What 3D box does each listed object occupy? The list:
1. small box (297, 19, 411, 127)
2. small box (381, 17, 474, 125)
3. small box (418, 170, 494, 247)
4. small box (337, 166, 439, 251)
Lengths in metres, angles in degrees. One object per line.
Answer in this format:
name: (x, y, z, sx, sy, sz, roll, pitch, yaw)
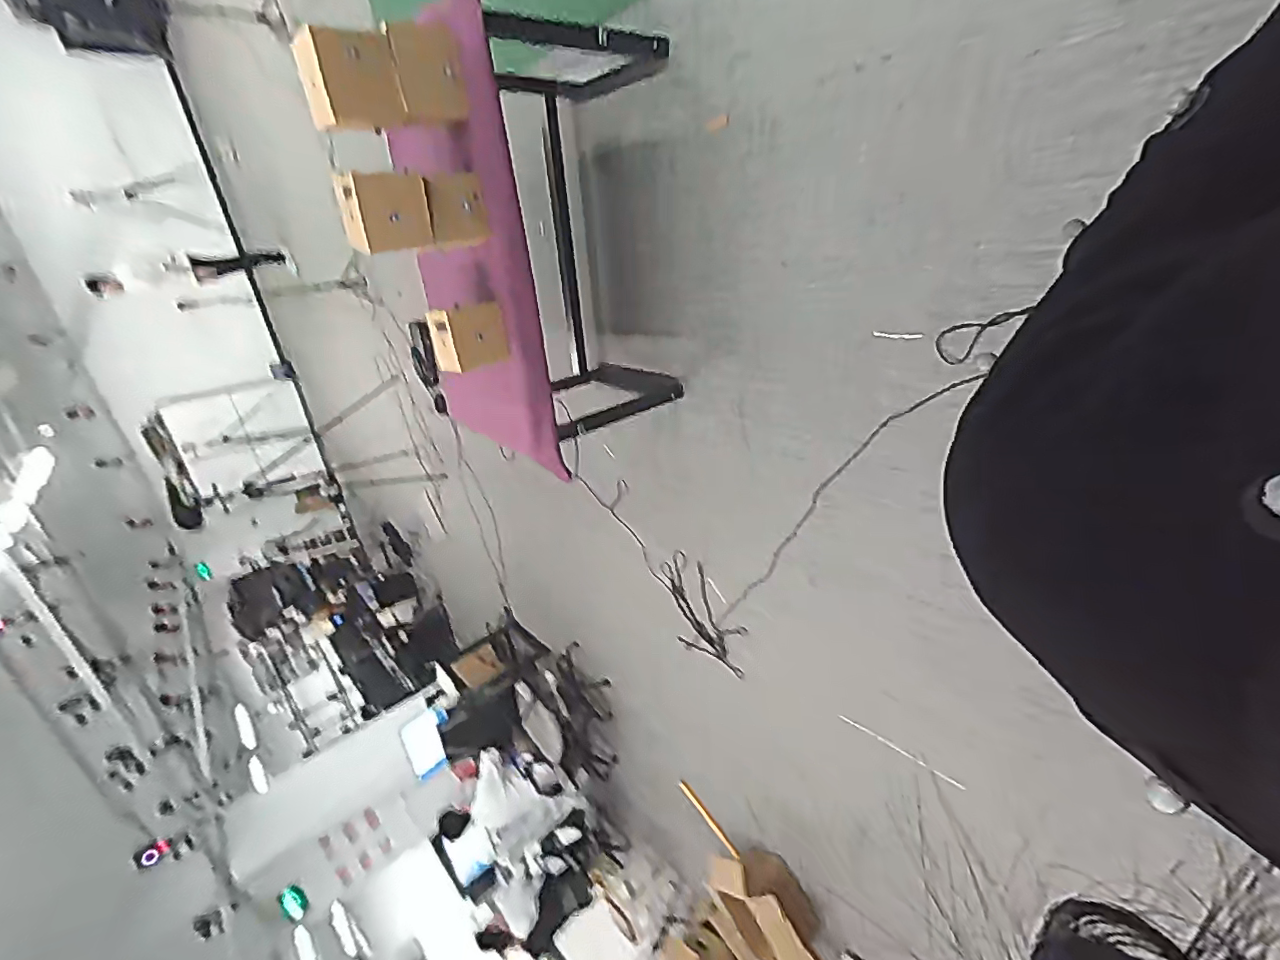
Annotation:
small box: (-0.666, -0.942, 1.269, 0.168, 0.176, 0.179, 25, 130, 43)
small box: (-0.540, -1.009, 1.351, 0.168, 0.176, 0.179, 19, 125, 46)
small box: (-0.529, -0.750, 1.498, 0.179, 0.176, 0.168, 16, 123, 48)
small box: (-0.638, -0.700, 1.383, 0.168, 0.176, 0.179, 32, 135, 40)
